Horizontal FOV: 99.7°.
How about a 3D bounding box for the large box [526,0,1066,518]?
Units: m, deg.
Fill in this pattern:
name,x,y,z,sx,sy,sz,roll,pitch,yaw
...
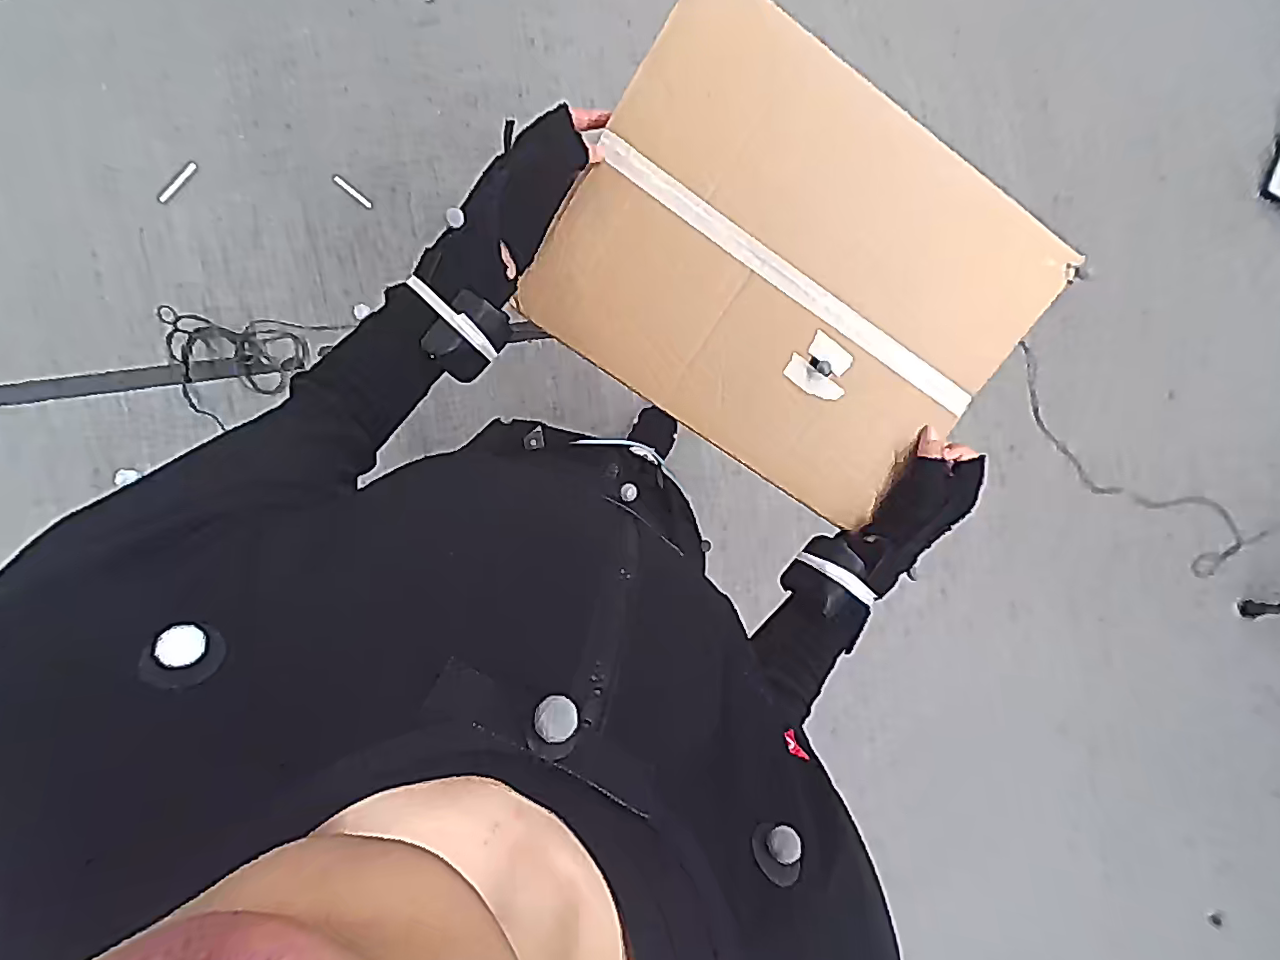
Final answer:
name,x,y,z,sx,sy,sz,roll,pitch,yaw
large box,0.137,-0.222,0.634,0.408,0.320,0.320,33,103,-9
